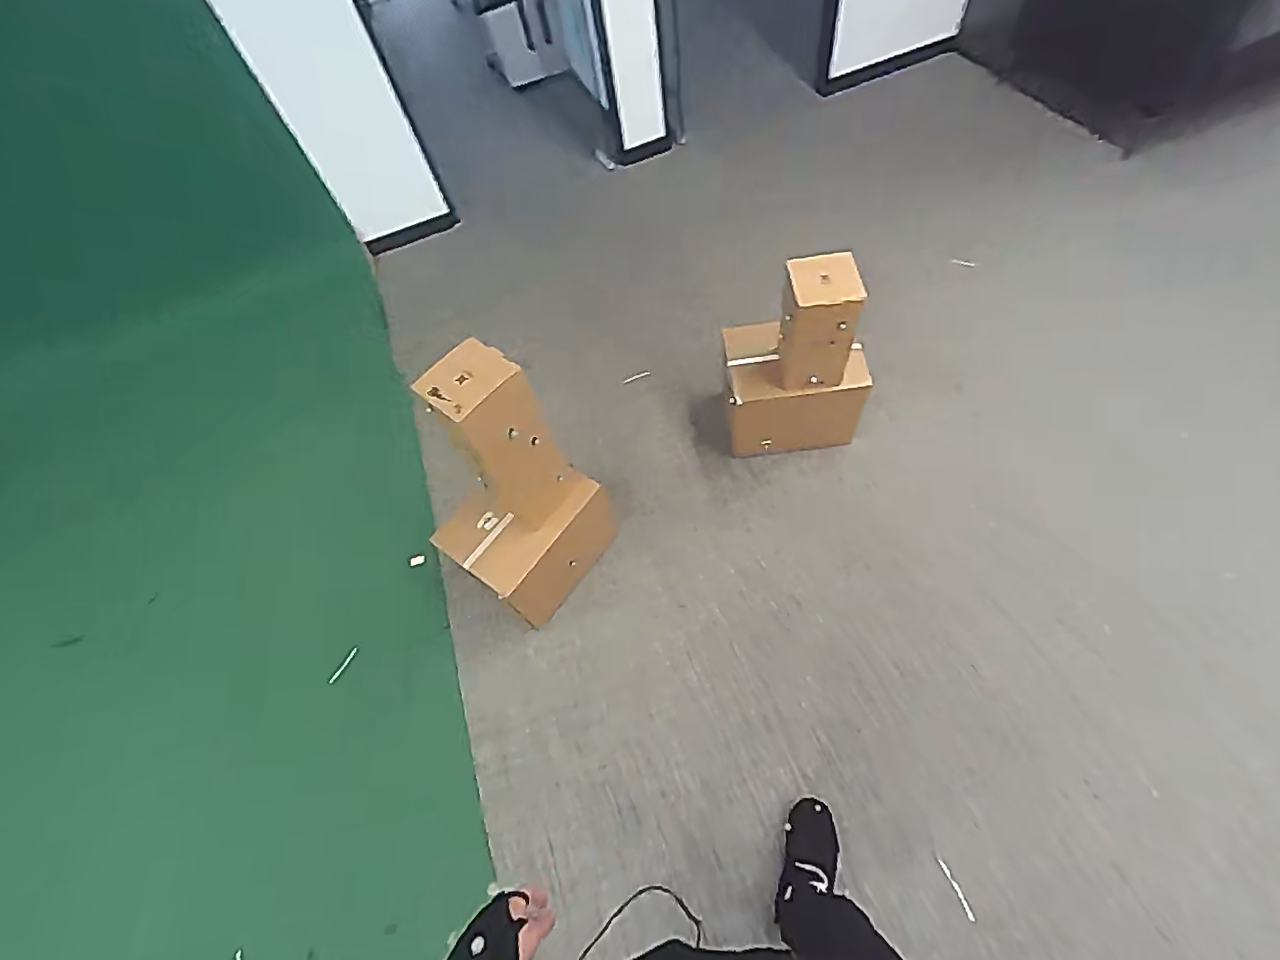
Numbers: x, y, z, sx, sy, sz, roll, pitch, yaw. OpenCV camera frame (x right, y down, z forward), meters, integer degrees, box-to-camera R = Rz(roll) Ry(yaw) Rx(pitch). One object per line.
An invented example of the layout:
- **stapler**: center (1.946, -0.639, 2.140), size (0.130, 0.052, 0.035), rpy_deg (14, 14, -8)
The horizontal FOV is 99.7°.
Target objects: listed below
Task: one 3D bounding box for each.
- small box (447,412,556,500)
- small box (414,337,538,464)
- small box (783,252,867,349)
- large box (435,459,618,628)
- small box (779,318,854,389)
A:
- **small box**: center (-0.324, -0.087, 1.314), size (0.168, 0.176, 0.179), rpy_deg (34, 70, 25)
- **small box**: center (-0.343, -0.169, 1.174), size (0.168, 0.176, 0.179), rpy_deg (34, 69, 25)
- **small box**: center (0.476, -0.461, 1.417), size (0.168, 0.176, 0.179), rpy_deg (-6, 59, 5)
- **large box**: center (-0.321, 0.168, 1.645), size (0.320, 0.320, 0.408), rpy_deg (29, 68, 25)
- **small box**: center (0.499, -0.386, 1.559), size (0.168, 0.176, 0.179), rpy_deg (-4, 60, 6)
